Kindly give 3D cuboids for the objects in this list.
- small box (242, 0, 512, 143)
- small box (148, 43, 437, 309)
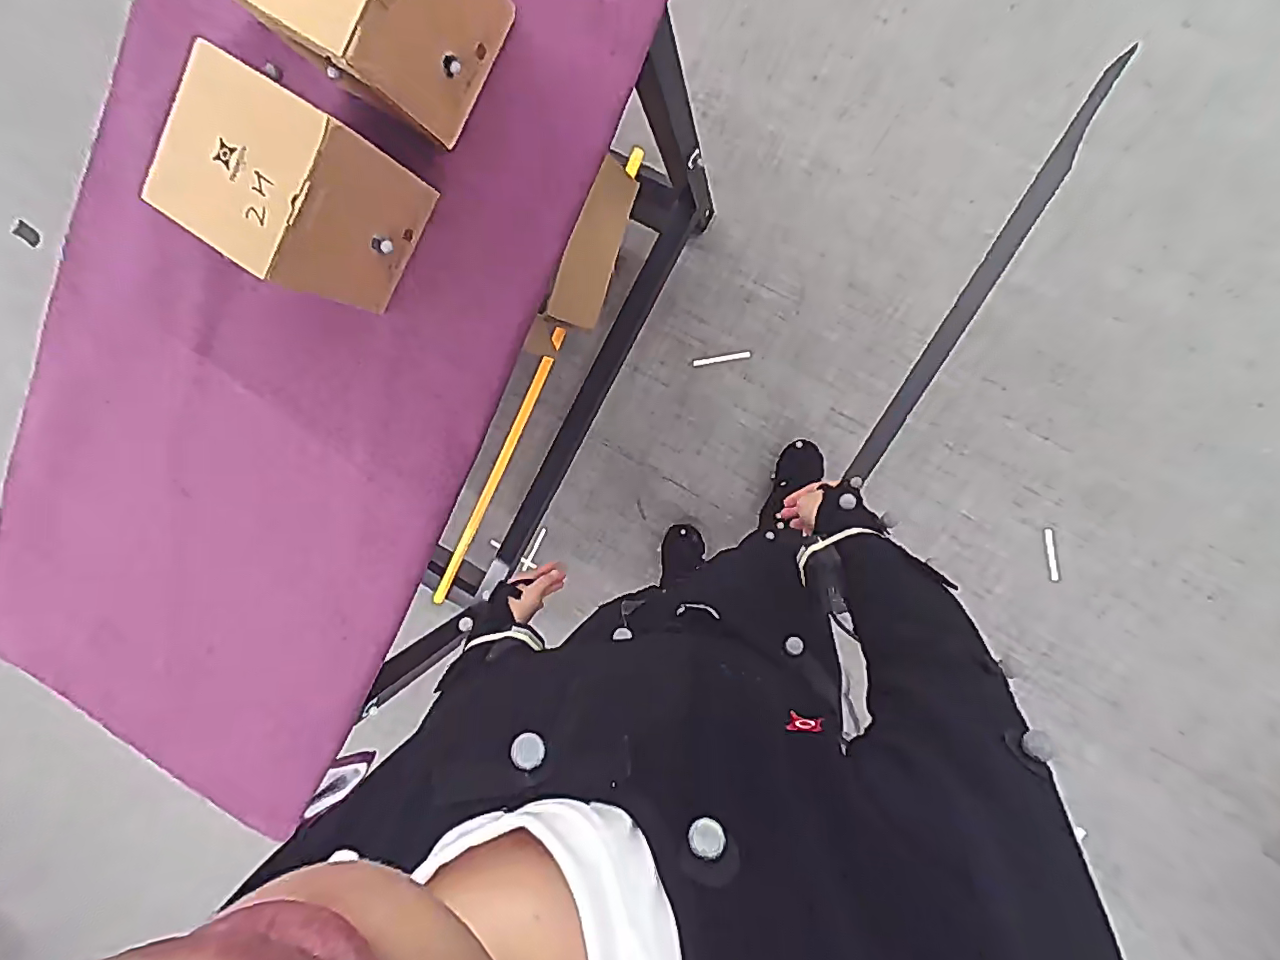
[{"bbox_3d":[-0.269,-0.493,0.557,0.179,0.176,0.168,34,102,8],"label":"small box"},{"bbox_3d":[-0.368,-0.312,0.597,0.179,0.176,0.168,34,102,8],"label":"small box"}]
